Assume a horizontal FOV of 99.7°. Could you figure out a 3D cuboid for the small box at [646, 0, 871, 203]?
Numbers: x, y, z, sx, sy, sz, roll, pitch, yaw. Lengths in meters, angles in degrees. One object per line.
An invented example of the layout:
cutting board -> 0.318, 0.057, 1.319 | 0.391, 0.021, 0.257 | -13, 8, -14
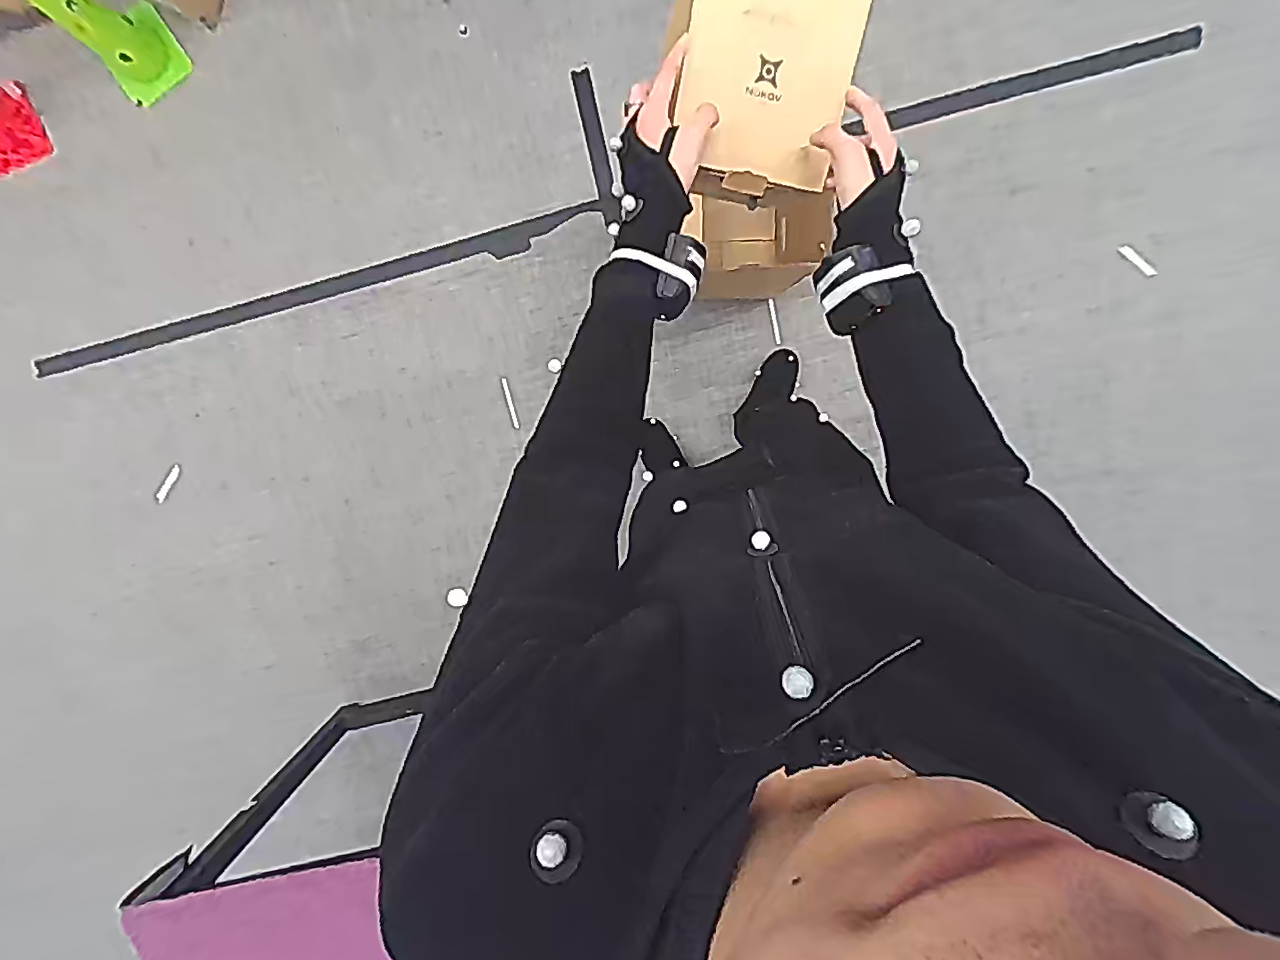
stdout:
small box -> 0.107, -0.410, 0.579 | 0.168, 0.176, 0.179 | 7, 111, -11
